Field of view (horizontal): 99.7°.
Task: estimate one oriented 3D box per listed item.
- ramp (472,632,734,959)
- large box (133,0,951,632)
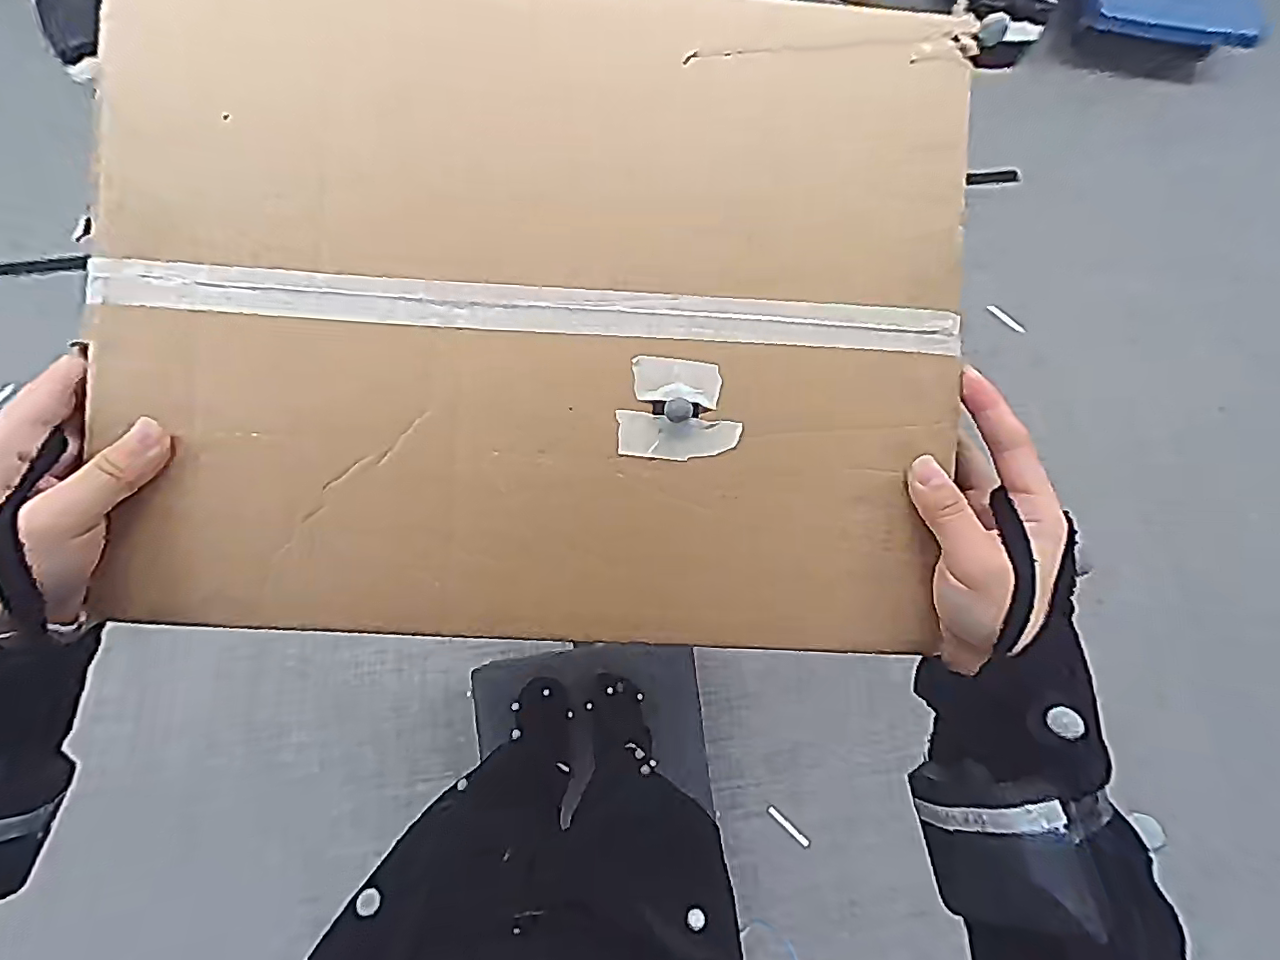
[{"bbox_3d":[-0.061,0.864,1.167,0.509,0.206,0.991,-8,77,-6],"label":"ramp"},{"bbox_3d":[-0.050,-0.081,0.421,0.408,0.320,0.320,3,91,-3],"label":"large box"}]
